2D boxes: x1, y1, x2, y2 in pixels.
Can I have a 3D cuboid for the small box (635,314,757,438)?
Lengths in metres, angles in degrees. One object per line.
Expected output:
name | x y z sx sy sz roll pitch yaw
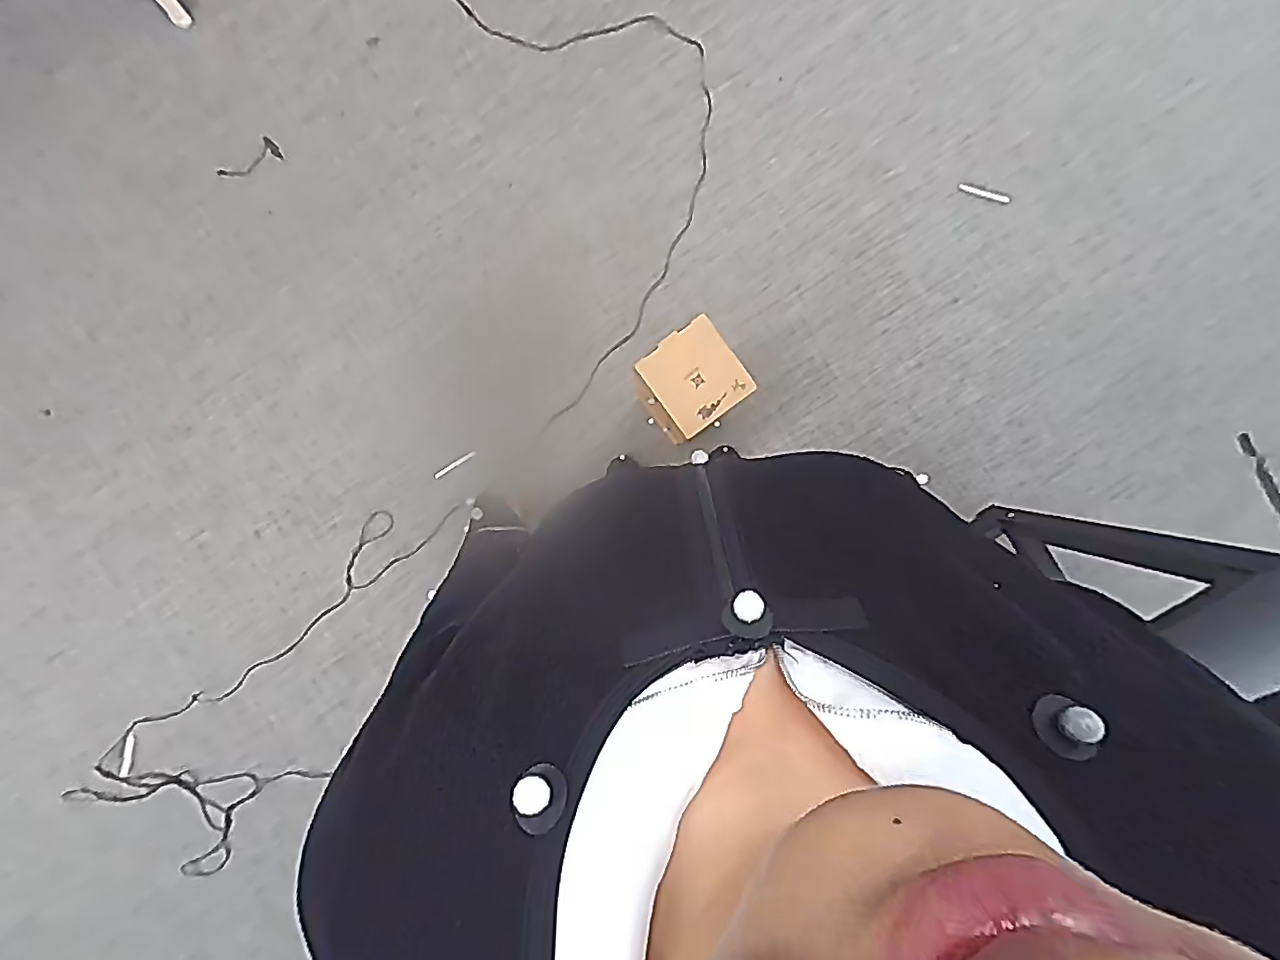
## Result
small box | 0.105 -0.197 1.085 0.168 0.176 0.179 -36 91 3

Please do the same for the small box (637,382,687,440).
small box | 0.111 -0.204 1.249 0.179 0.176 0.168 -39 92 2

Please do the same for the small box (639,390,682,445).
small box | 0.111 -0.207 1.411 0.179 0.176 0.168 -36 91 4
